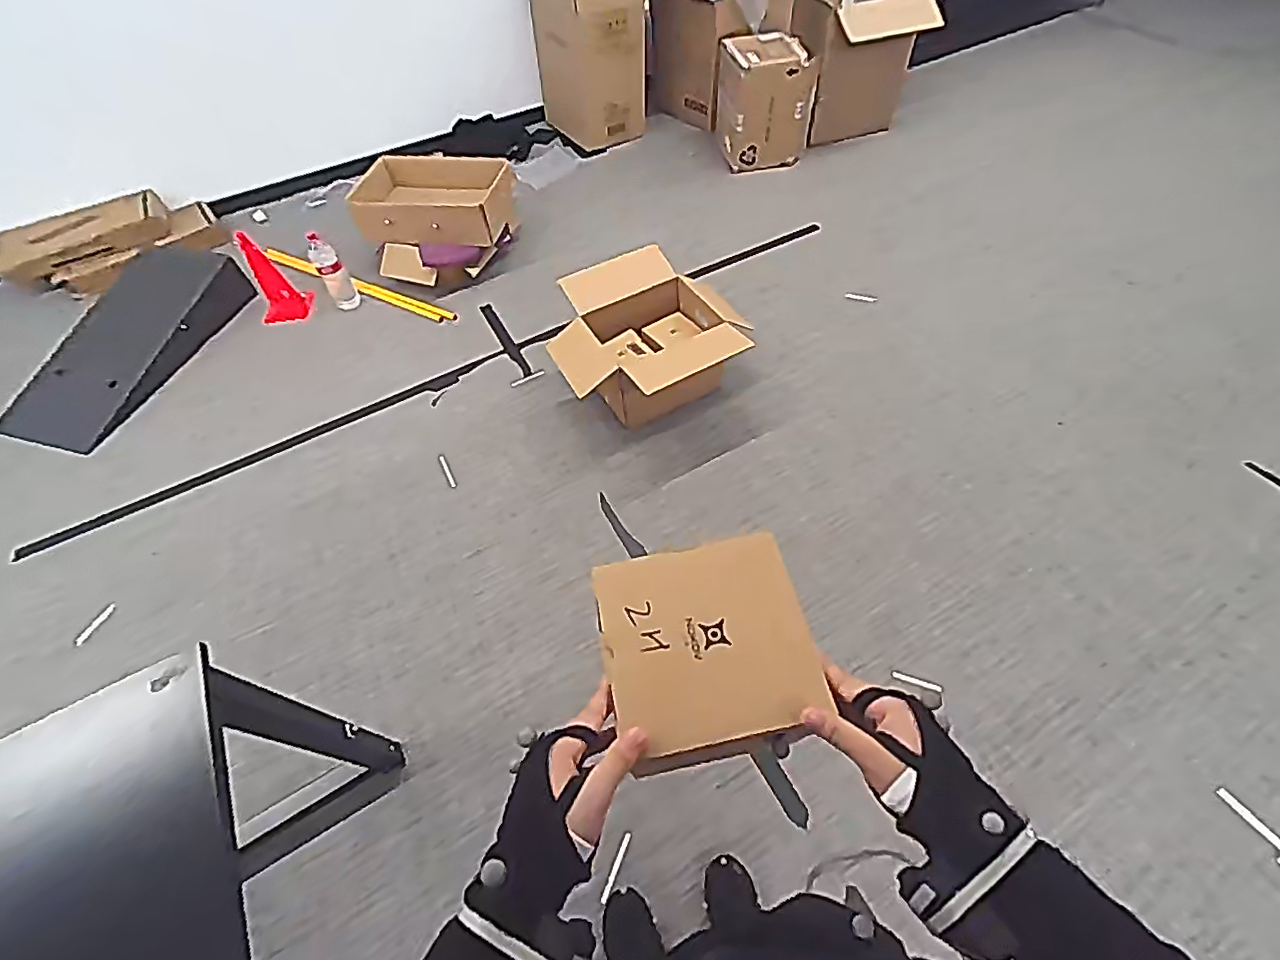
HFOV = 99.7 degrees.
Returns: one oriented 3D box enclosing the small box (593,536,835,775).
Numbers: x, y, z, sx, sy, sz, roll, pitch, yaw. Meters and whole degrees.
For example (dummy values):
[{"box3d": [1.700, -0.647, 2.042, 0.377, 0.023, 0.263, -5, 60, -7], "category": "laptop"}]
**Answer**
[{"box3d": [0.059, 0.177, 0.527, 0.179, 0.176, 0.168, -11, 58, -3], "category": "small box"}]
